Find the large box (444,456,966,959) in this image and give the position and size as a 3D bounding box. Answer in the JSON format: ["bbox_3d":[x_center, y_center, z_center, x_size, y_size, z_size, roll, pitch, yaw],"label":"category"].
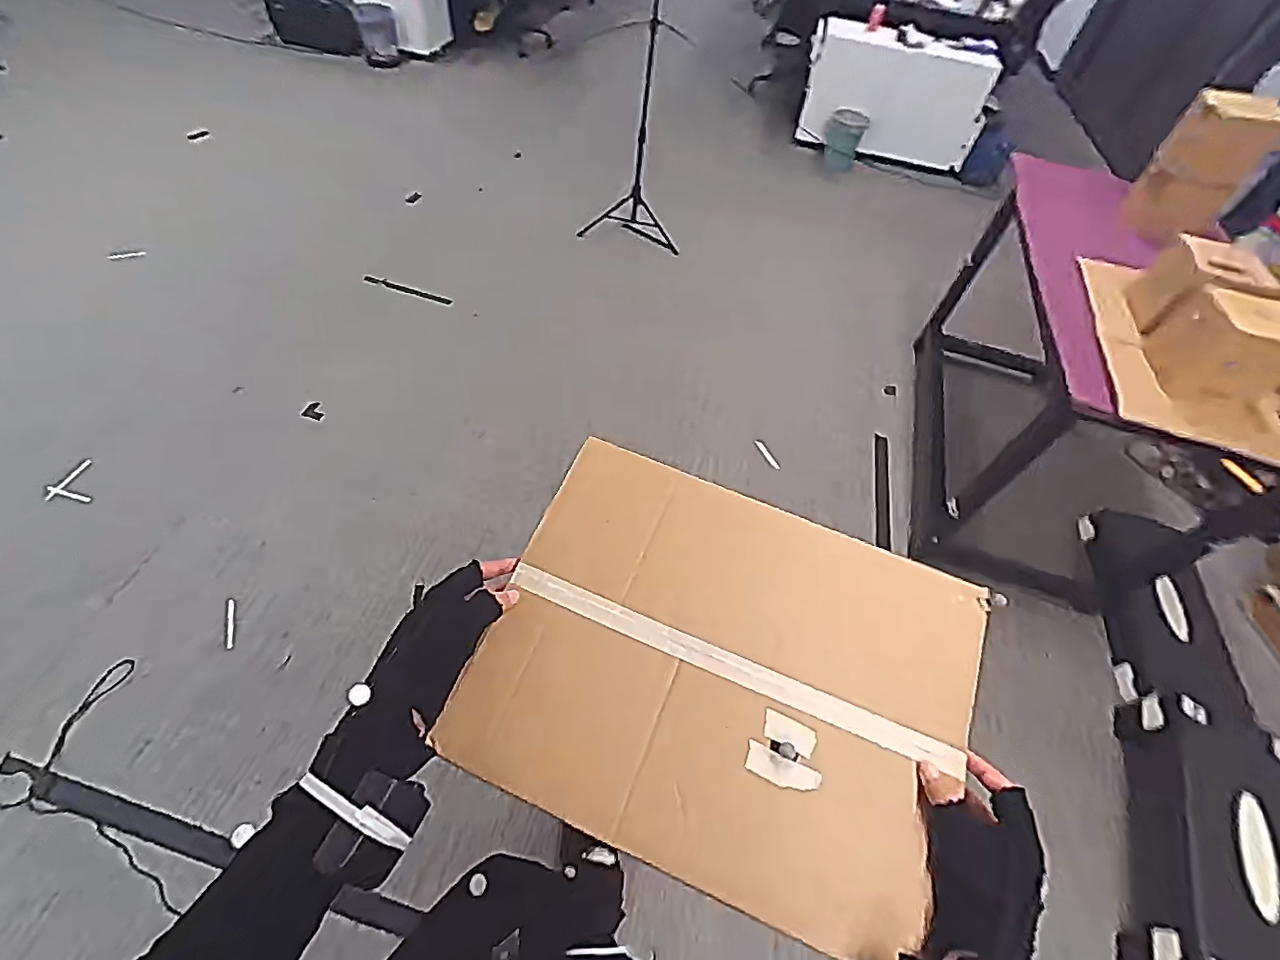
[{"bbox_3d":[0.068,0.231,0.616,0.408,0.320,0.320,22,66,8],"label":"large box"}]
